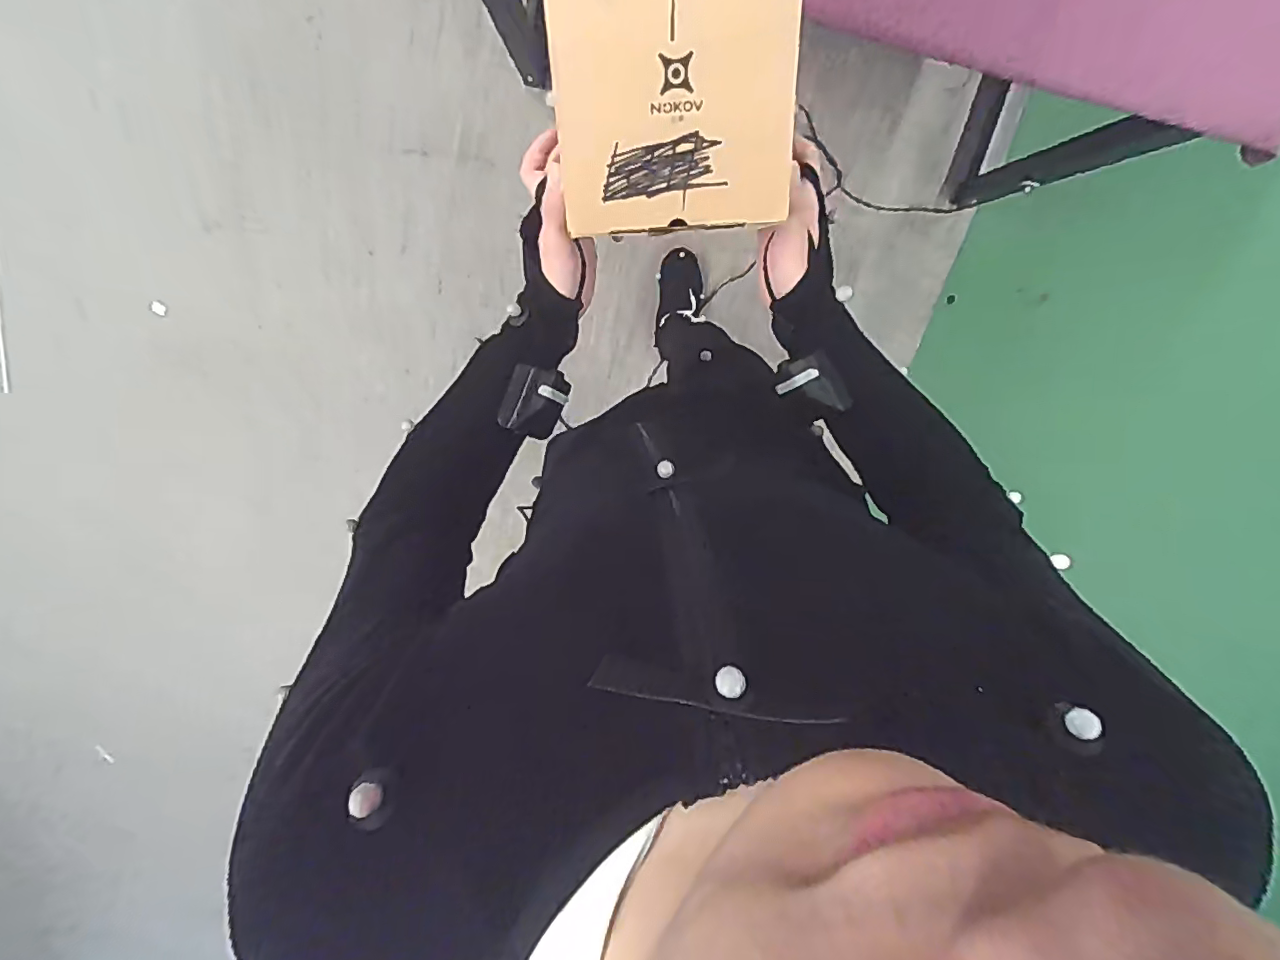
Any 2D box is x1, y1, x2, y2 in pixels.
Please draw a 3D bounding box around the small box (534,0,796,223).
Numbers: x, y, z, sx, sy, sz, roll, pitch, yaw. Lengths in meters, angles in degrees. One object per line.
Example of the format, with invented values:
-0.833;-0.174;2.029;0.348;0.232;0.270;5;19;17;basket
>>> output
0.018;-0.306;0.422;0.168;0.176;0.179;-3;117;2;small box
